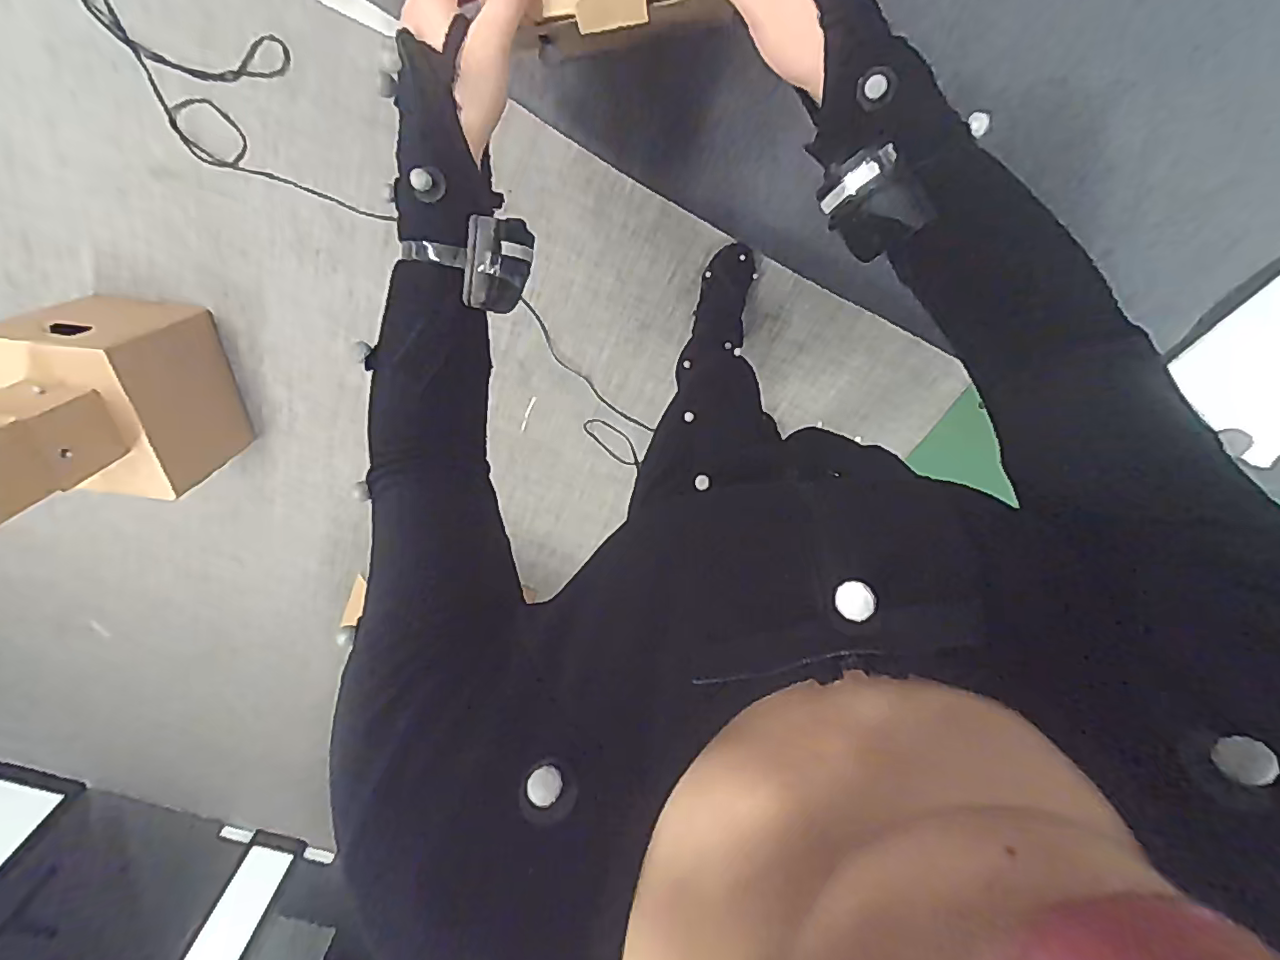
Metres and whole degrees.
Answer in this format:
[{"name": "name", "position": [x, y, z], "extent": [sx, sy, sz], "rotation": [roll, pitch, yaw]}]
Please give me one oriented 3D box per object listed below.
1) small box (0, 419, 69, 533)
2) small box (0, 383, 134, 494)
[{"name": "small box", "position": [-1.298, -0.016, 1.050], "extent": [0.168, 0.176, 0.179], "rotation": [7, 124, -1]}, {"name": "small box", "position": [-1.289, -0.094, 1.193], "extent": [0.168, 0.176, 0.179], "rotation": [6, 123, 0]}]
